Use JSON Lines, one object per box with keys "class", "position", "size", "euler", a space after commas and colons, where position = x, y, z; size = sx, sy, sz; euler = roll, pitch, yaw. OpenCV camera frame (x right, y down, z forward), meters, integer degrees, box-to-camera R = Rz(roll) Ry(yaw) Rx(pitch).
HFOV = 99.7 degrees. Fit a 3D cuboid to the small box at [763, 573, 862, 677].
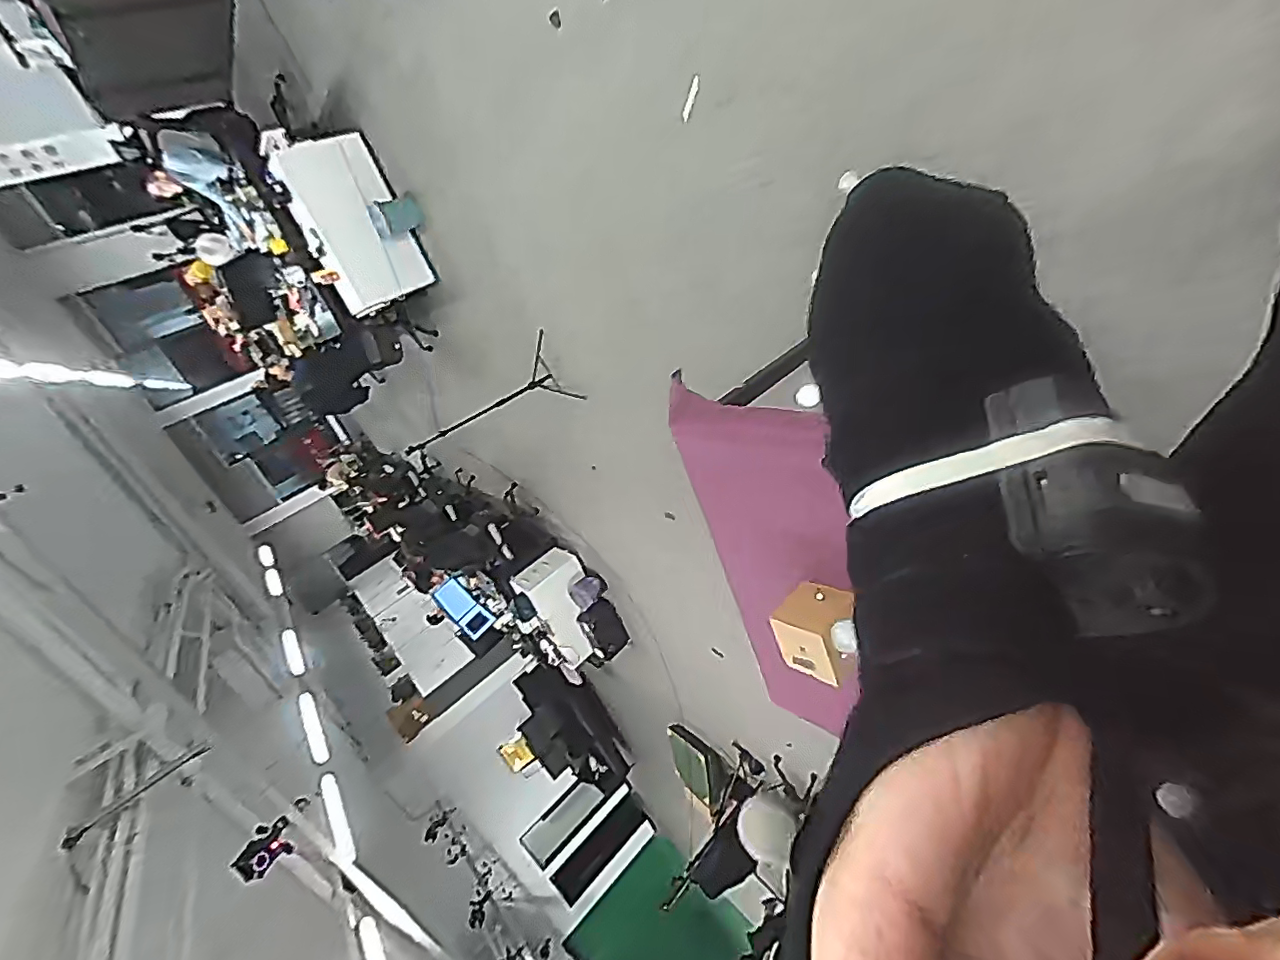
{"class": "small box", "position": [0.464, 0.378, 1.437], "size": [0.168, 0.176, 0.179], "euler": [8, 128, 53]}
